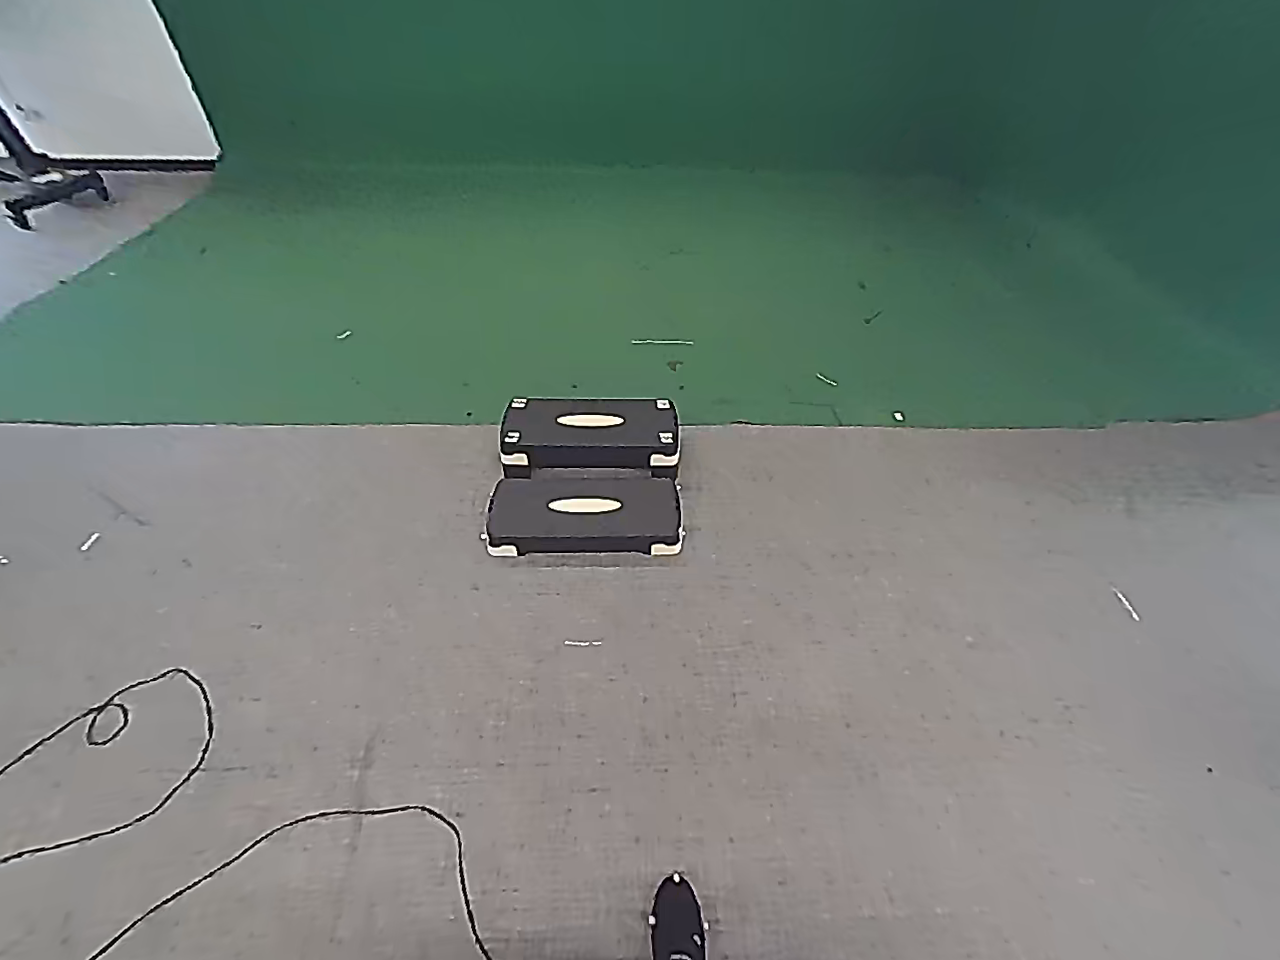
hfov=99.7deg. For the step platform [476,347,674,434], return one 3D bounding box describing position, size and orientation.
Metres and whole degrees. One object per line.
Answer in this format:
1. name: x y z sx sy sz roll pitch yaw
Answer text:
1. step platform: -0.224 -0.322 1.961 0.684 0.204 0.286 0 47 -1
